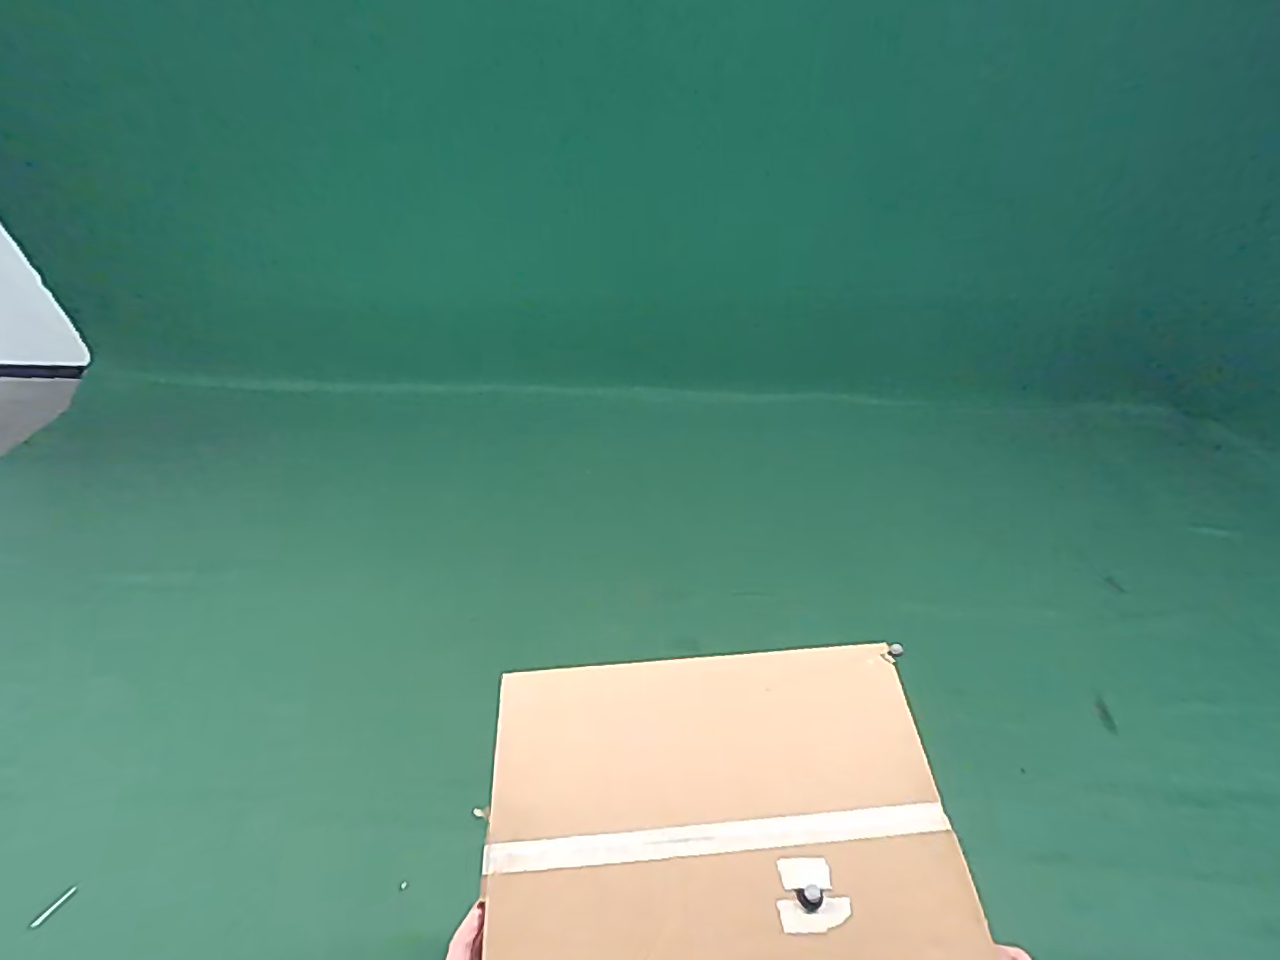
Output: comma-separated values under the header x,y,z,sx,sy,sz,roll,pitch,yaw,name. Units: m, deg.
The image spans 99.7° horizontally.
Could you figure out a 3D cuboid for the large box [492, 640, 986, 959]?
x,y,z,sx,sy,sz,roll,pitch,yaw,name
0.070,0.400,0.607,0.408,0.320,0.320,-4,55,-2,large box
